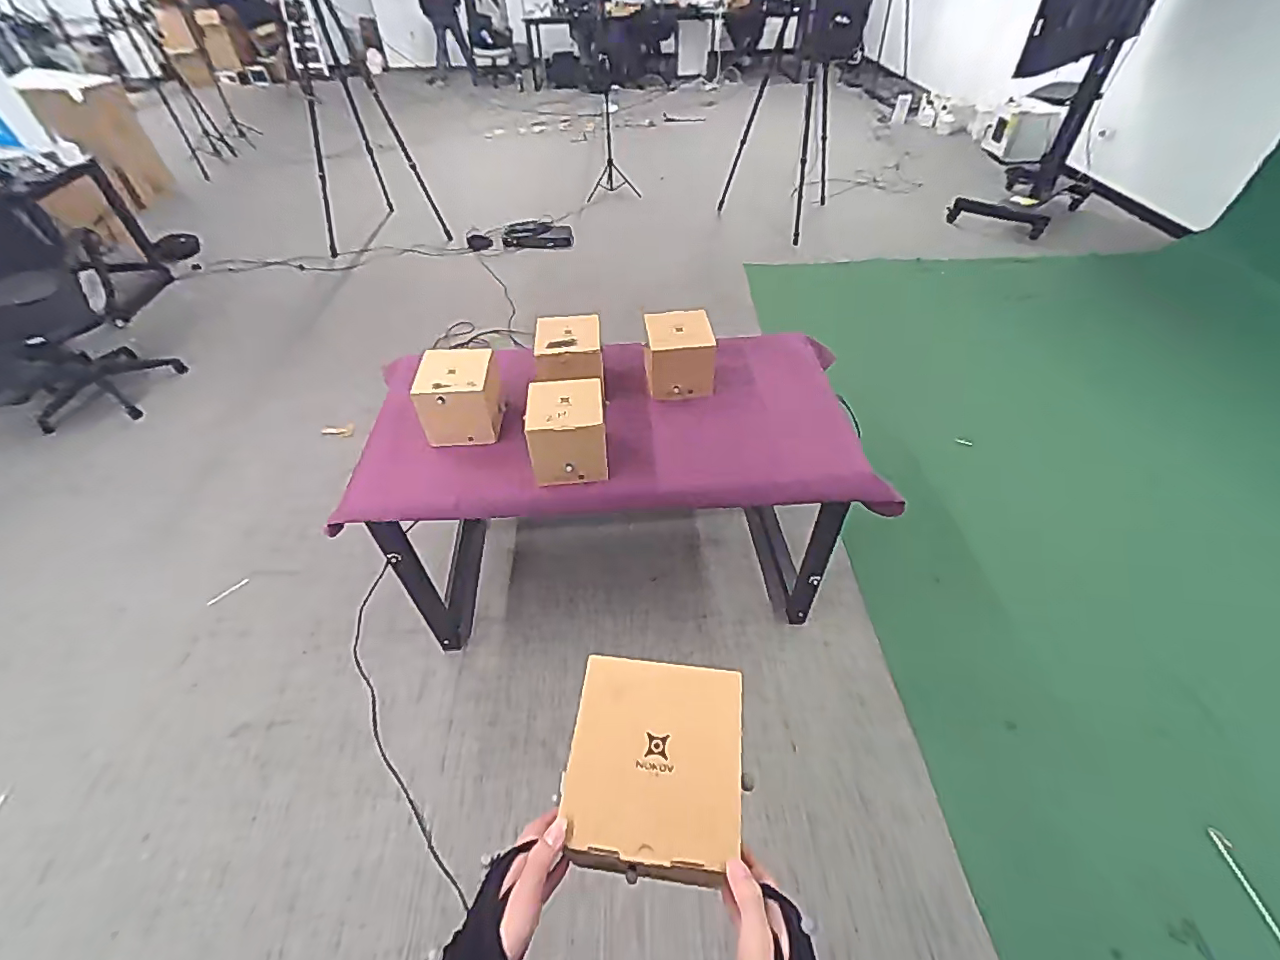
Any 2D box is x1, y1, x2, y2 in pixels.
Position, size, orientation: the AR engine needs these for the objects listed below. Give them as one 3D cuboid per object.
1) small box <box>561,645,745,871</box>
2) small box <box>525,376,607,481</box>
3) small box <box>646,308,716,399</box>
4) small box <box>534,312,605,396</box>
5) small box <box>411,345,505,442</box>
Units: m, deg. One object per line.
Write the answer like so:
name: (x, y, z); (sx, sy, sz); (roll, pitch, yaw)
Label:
small box: (0.019, 0.304, 0.588); (0.168, 0.176, 0.179); (6, 52, 5)
small box: (-0.163, -0.118, 1.240); (0.168, 0.176, 0.179); (-4, 46, -3)
small box: (0.102, -0.338, 1.445); (0.168, 0.176, 0.179); (-5, 48, -2)
small box: (-0.182, -0.323, 1.436); (0.168, 0.176, 0.179); (-4, 46, -3)
small box: (-0.438, -0.214, 1.335); (0.168, 0.176, 0.179); (-4, 46, 0)
